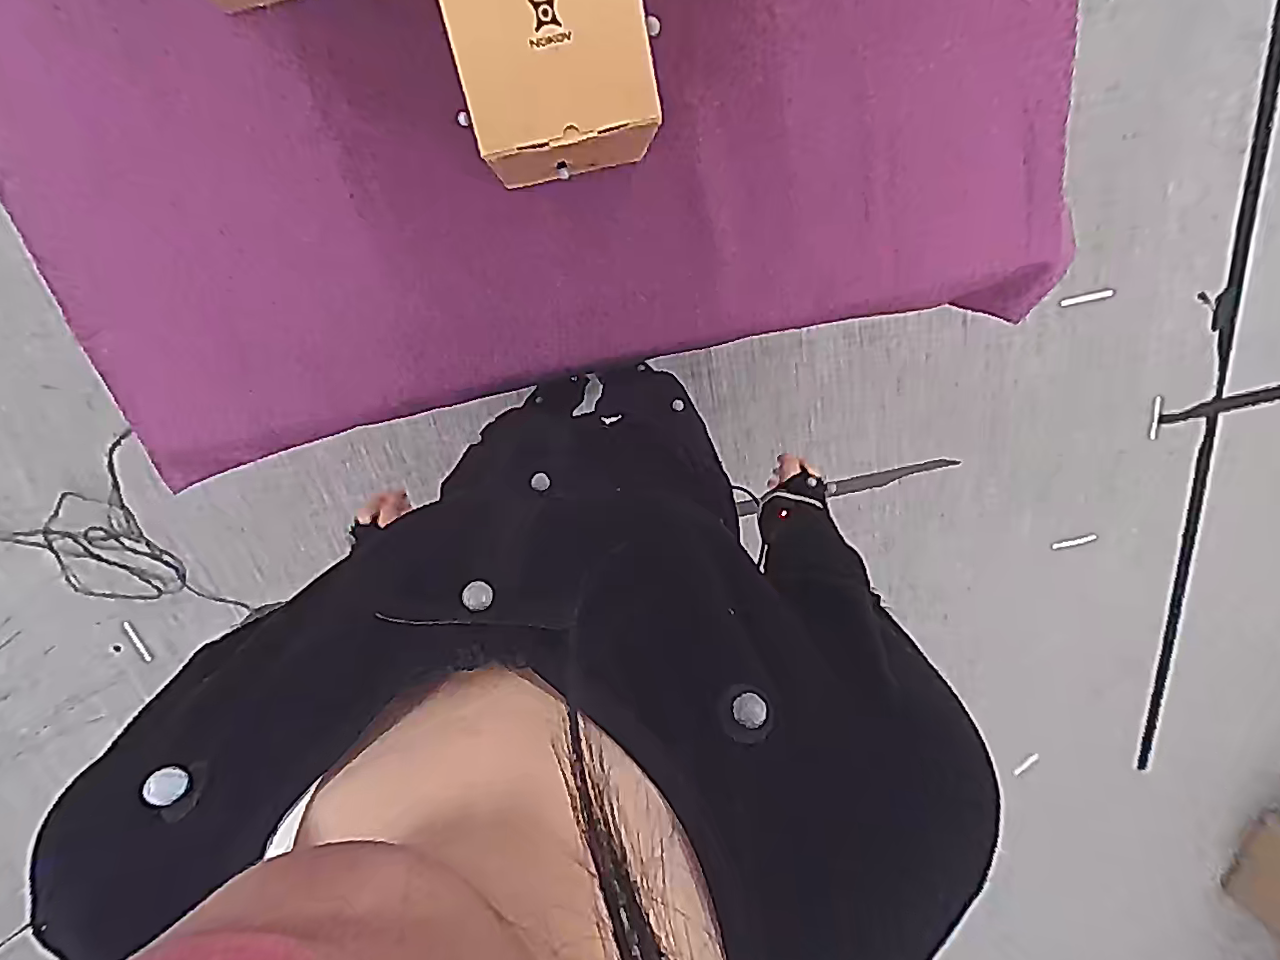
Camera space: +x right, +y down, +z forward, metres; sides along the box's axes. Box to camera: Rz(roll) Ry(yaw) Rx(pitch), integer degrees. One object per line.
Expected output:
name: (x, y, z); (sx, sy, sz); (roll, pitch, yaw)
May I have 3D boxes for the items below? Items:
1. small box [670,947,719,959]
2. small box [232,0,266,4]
small box: (0.206, 1.741, 1.837); (0.179, 0.176, 0.168); (-14, 110, -1)
small box: (-0.346, -0.534, 0.443); (0.168, 0.176, 0.179); (-14, 114, -1)
